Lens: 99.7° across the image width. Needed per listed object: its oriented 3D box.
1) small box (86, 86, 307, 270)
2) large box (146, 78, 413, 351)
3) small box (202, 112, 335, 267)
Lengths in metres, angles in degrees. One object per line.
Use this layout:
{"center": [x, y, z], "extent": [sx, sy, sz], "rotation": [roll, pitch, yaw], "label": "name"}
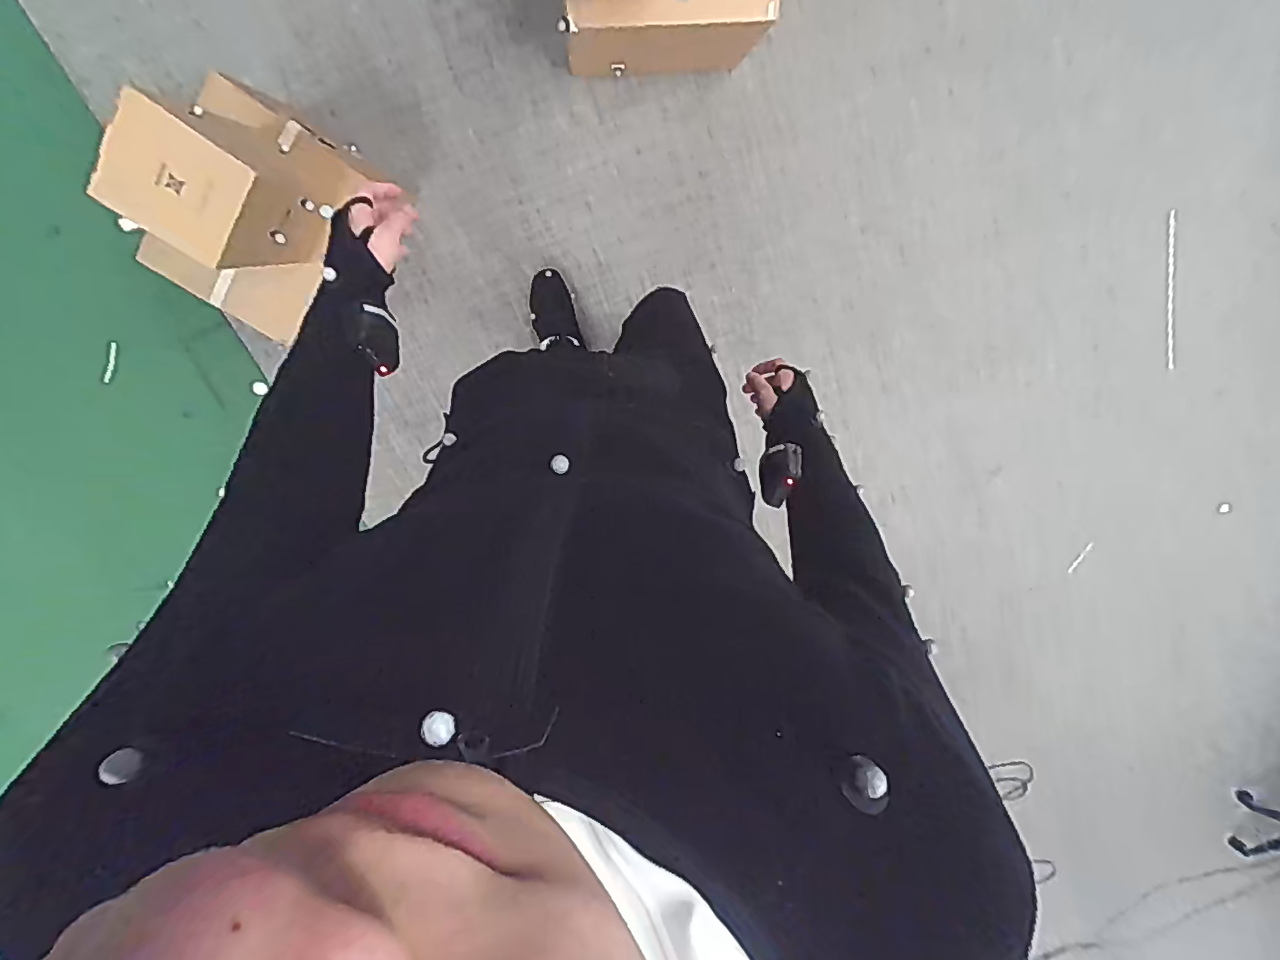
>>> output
{"center": [-0.665, -0.447, 0.832], "extent": [0.179, 0.176, 0.168], "rotation": [33, 107, -18], "label": "small box"}
{"center": [-0.777, -0.567, 1.217], "extent": [0.320, 0.320, 0.408], "rotation": [33, 107, -16], "label": "large box"}
{"center": [-0.688, -0.512, 0.980], "extent": [0.168, 0.176, 0.179], "rotation": [32, 106, -17], "label": "small box"}
